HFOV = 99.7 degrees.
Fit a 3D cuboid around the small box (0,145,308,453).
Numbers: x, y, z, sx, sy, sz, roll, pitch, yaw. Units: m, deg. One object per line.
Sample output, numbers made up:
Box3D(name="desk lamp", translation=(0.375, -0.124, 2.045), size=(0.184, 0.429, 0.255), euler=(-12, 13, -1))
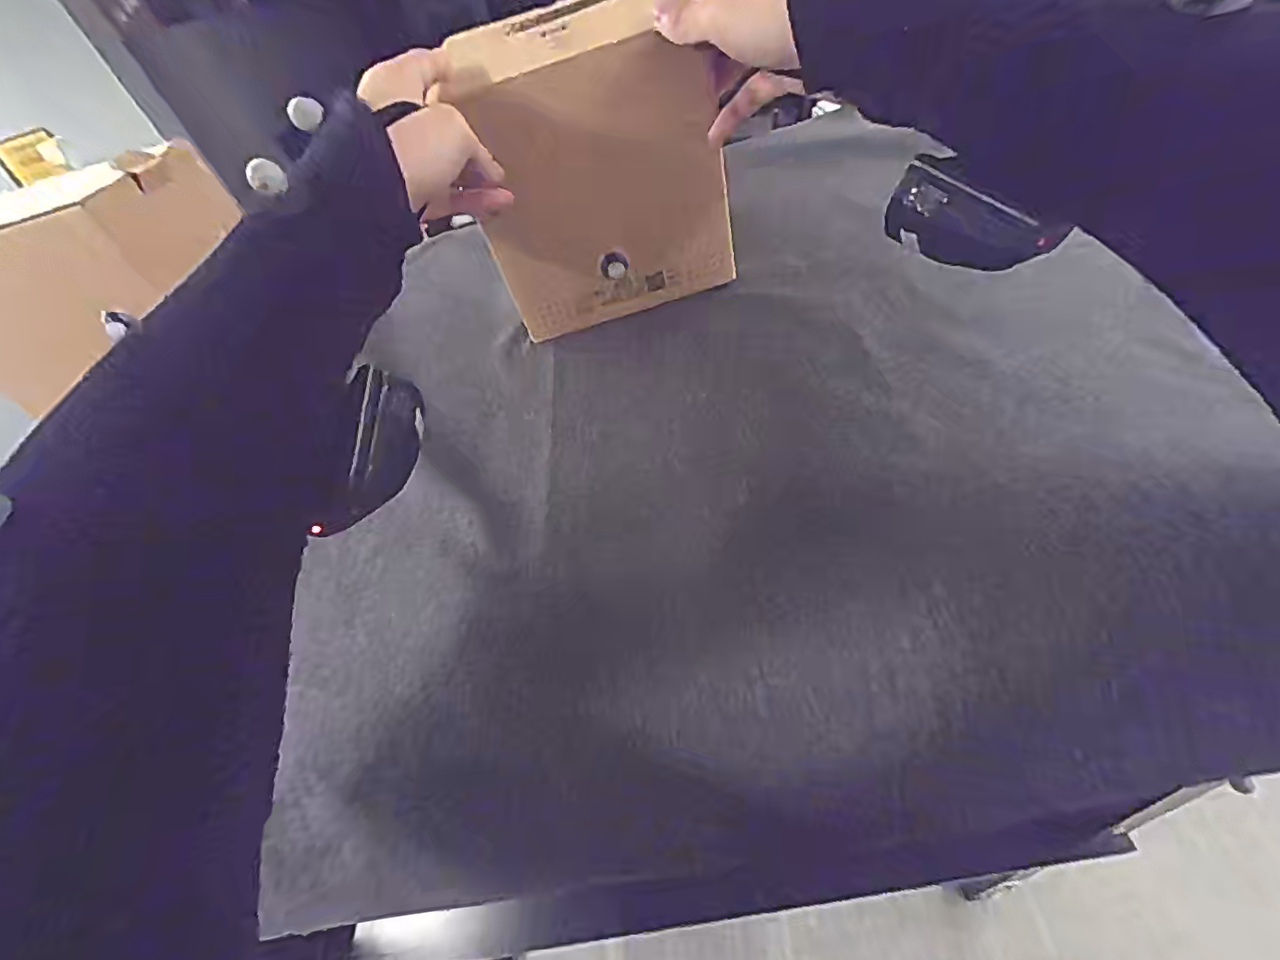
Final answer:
Box3D(name="small box", translation=(-0.429, -0.150, 0.462), size=(0.179, 0.176, 0.168), euler=(-15, 46, 2))
